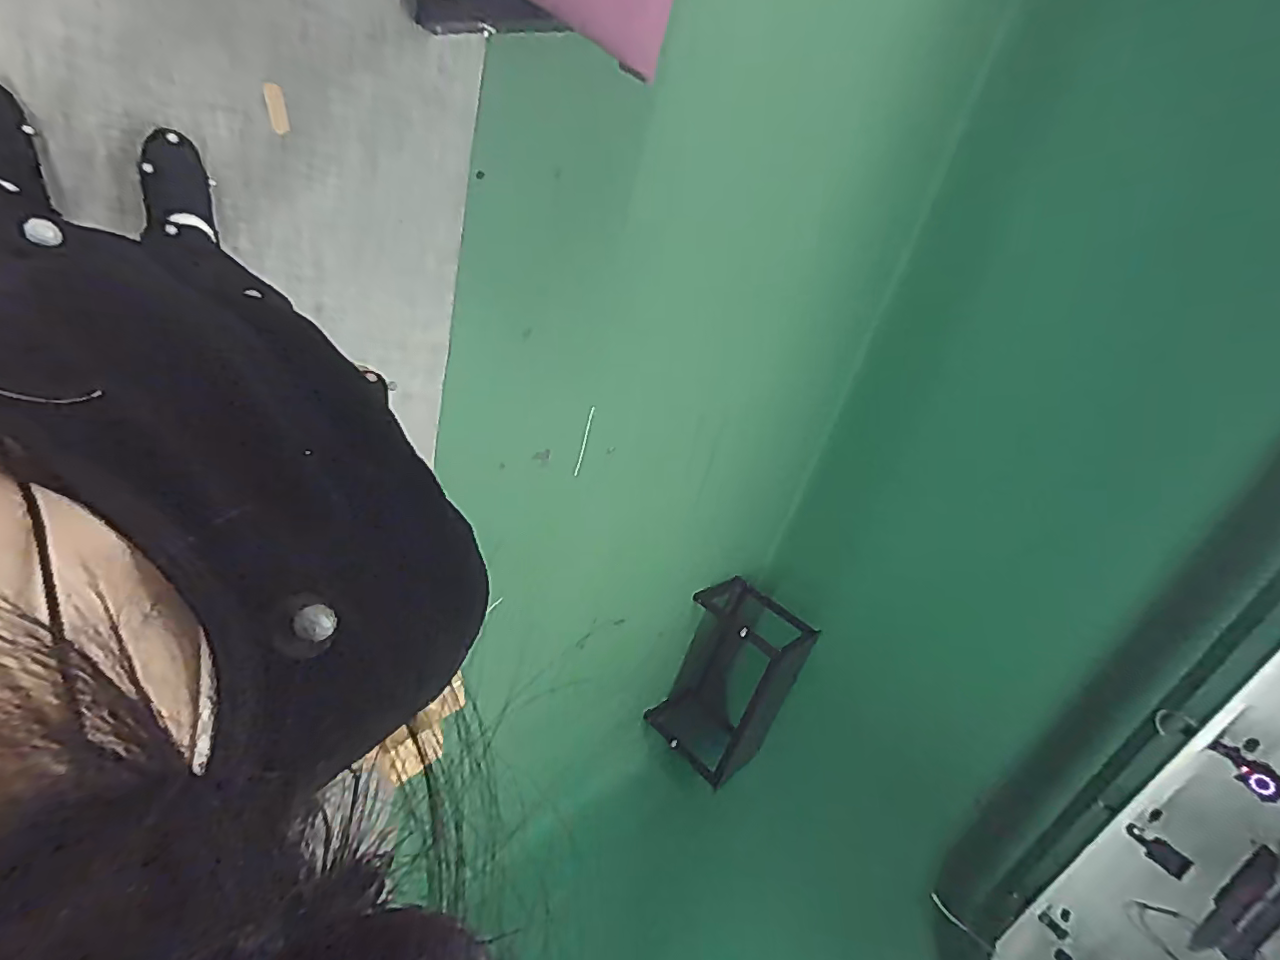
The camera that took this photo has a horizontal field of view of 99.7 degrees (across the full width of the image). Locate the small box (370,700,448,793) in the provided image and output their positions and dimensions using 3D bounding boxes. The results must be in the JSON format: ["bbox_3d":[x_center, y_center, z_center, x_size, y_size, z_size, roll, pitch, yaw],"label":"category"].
[{"bbox_3d":[-0.729,0.828,1.704,0.168,0.176,0.179,-24,133,-38],"label":"small box"}]

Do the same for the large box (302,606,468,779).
[{"bbox_3d":[-0.870,0.717,1.877,0.408,0.320,0.320,-26,136,-38],"label":"large box"}]
